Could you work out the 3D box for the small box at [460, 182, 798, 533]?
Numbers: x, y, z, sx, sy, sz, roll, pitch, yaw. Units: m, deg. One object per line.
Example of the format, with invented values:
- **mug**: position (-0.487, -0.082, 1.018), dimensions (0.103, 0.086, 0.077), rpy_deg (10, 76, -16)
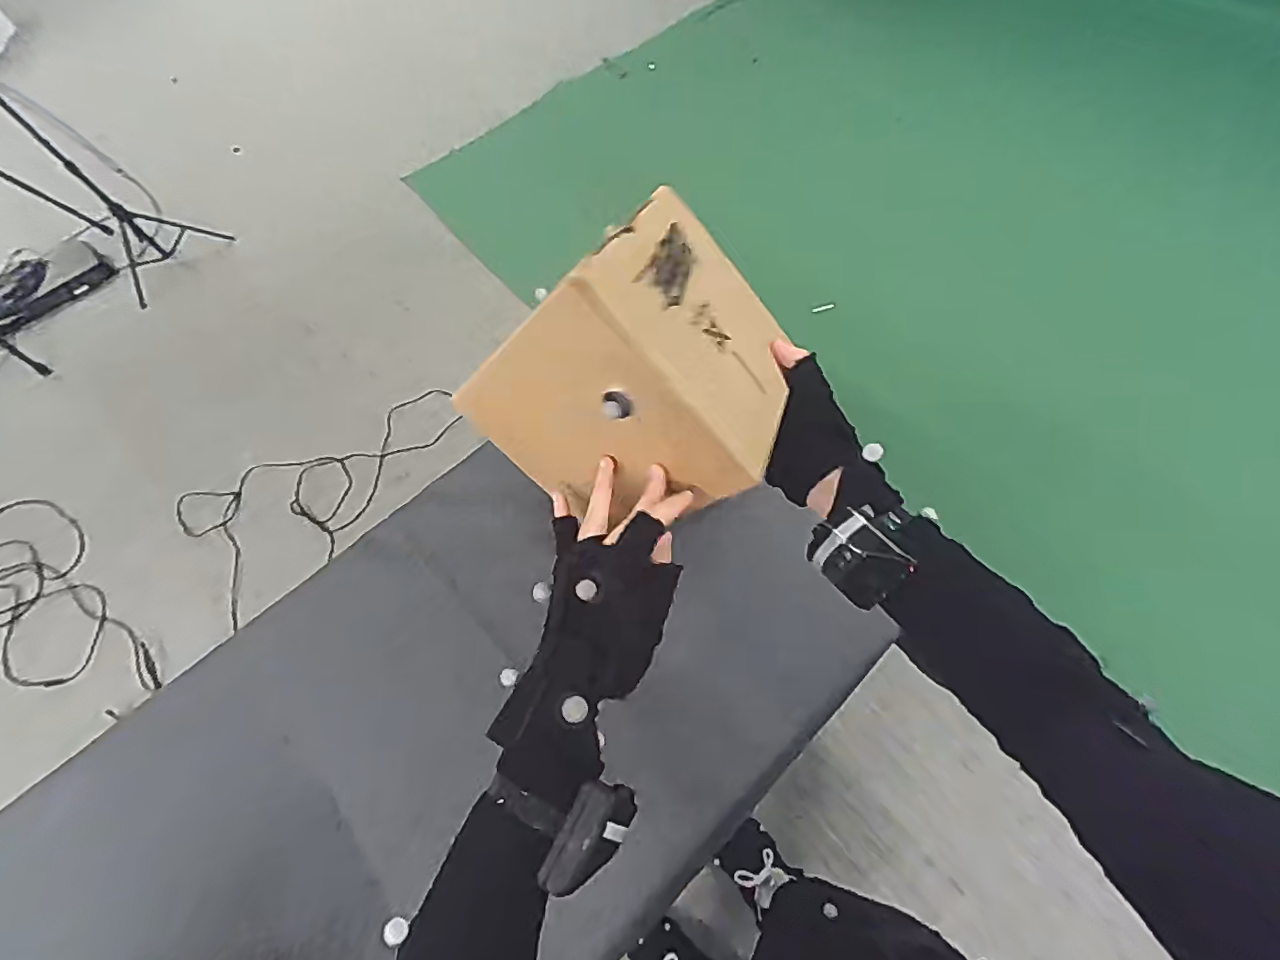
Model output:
- **small box**: position (-0.004, -0.082, 0.422), dimensions (0.176, 0.179, 0.168), rpy_deg (-24, 29, 40)
